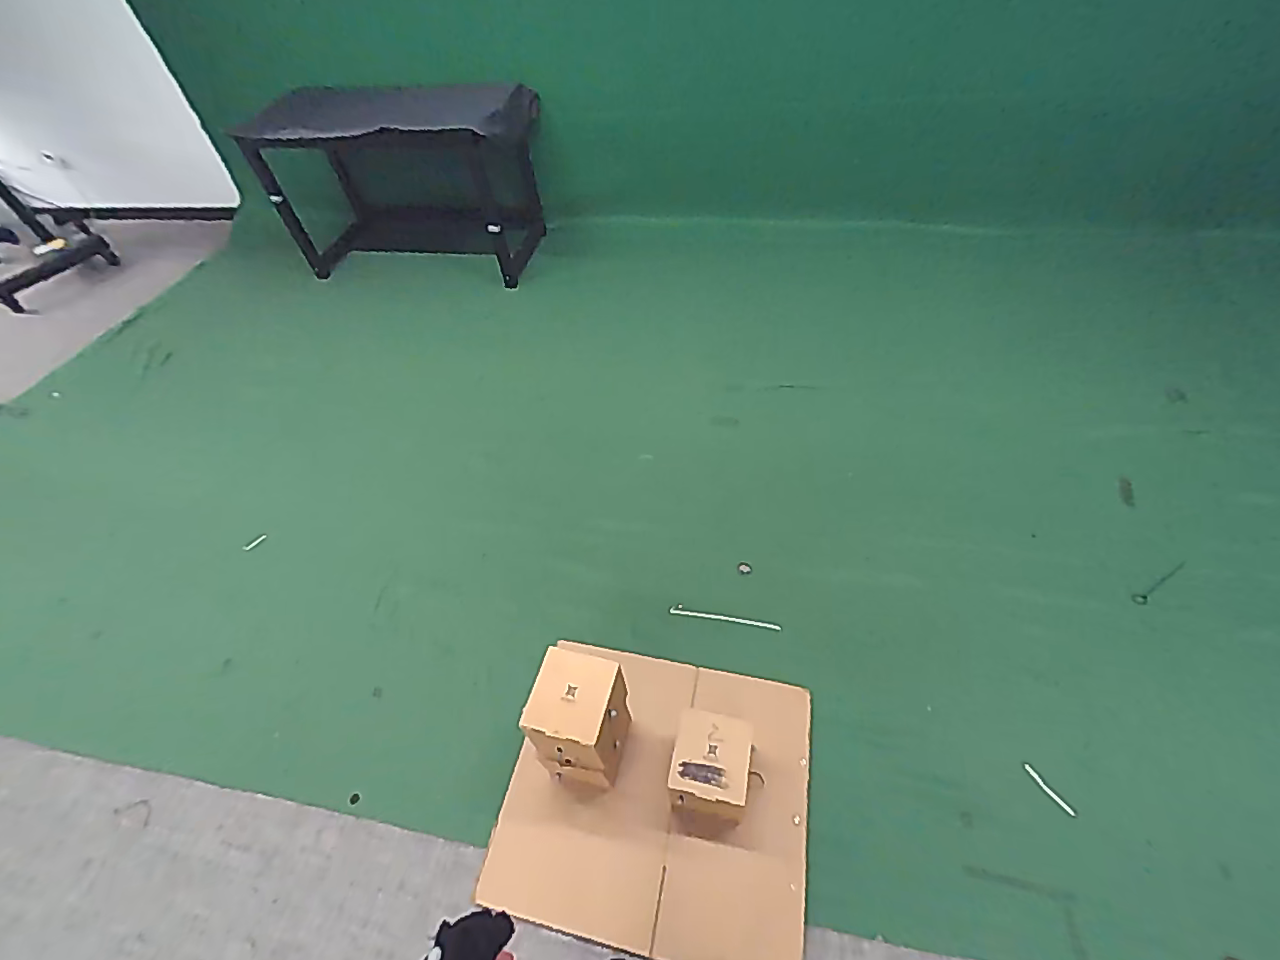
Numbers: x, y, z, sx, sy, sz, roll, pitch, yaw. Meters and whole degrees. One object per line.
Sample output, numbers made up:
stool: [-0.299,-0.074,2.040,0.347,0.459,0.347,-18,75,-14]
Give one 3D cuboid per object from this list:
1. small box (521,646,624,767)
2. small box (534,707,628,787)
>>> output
small box: [-0.136,0.493,1.176,0.168,0.176,0.179,9,51,13]
small box: [-0.131,0.607,1.291,0.168,0.176,0.179,8,50,13]
